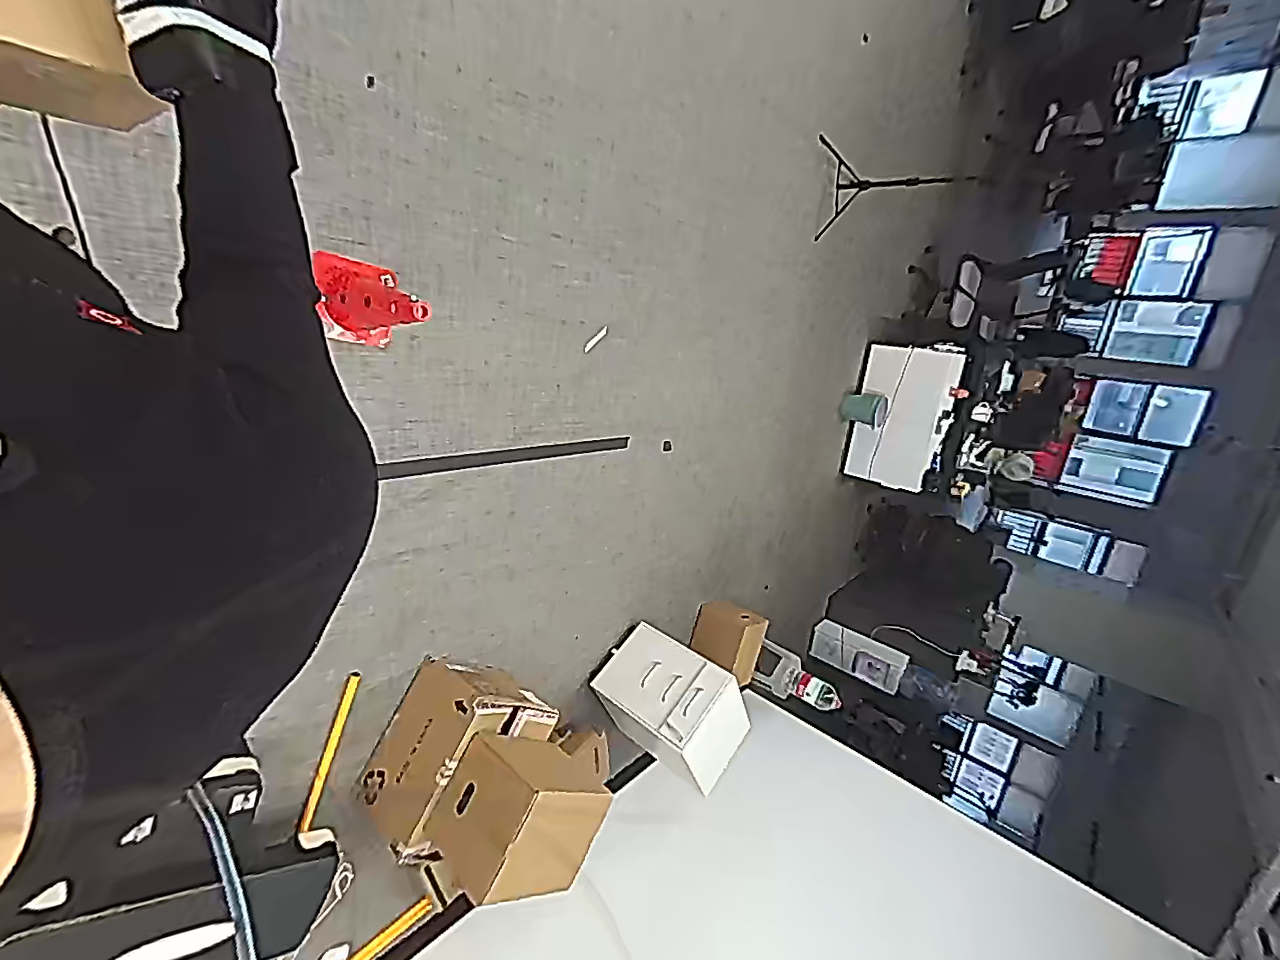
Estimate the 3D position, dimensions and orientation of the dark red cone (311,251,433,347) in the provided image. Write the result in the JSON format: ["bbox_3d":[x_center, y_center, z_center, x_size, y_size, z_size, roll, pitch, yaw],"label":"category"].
[{"bbox_3d":[-0.583,-0.397,1.237,0.201,0.394,0.202,-2,107,-49],"label":"dark red cone"}]

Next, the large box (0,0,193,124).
[{"bbox_3d":[-0.559,-0.444,0.299,0.408,0.320,0.320,-14,119,-48],"label":"large box"}]
